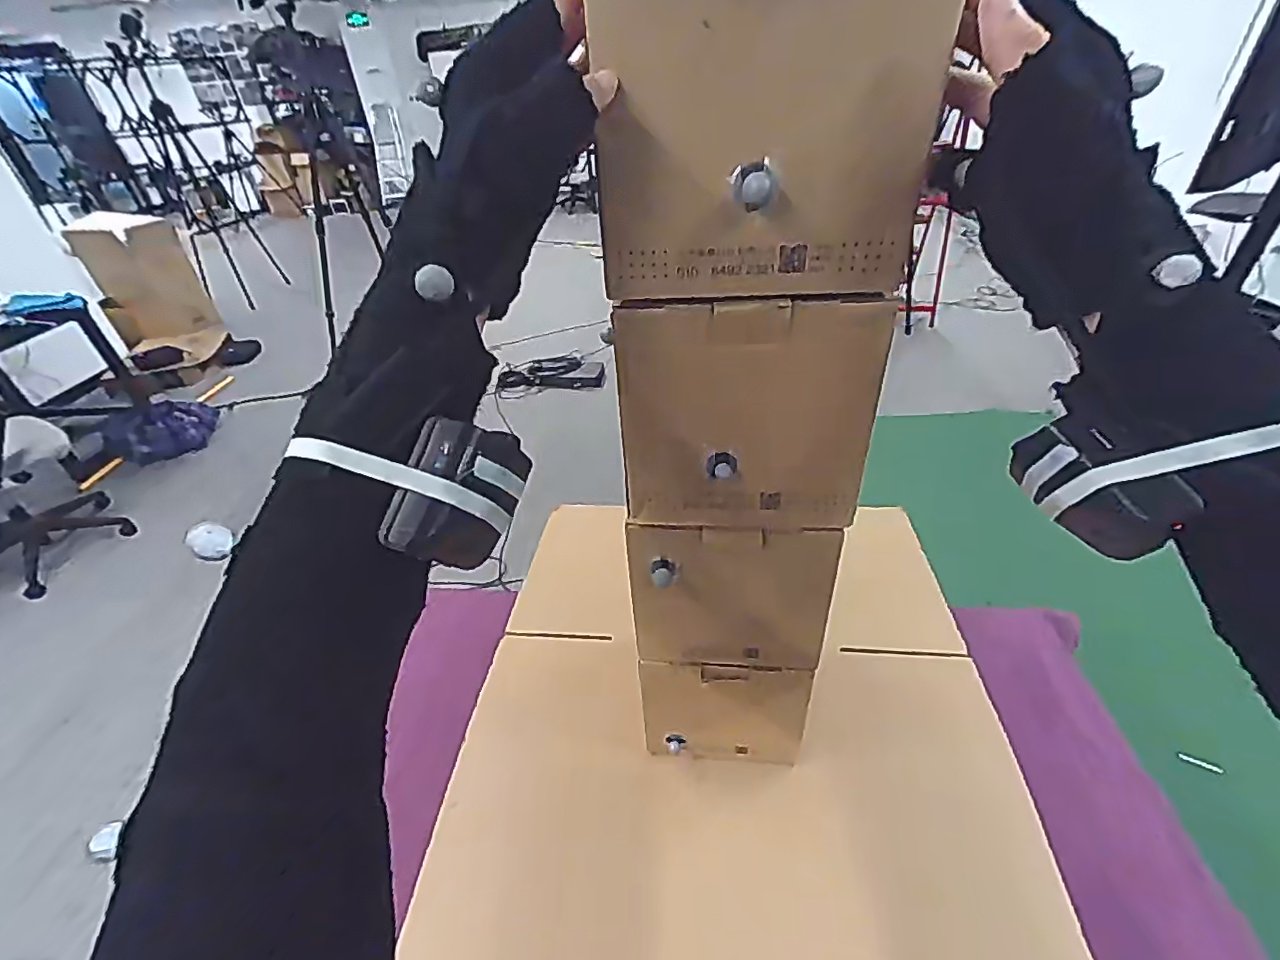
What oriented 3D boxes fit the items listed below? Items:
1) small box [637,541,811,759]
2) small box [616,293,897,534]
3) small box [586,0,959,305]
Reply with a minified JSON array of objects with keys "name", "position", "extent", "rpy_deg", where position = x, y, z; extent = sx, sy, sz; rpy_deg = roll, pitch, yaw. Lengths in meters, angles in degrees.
[{"name":"small box","position":[0.095,0.190,0.616],"extent":[0.168,0.176,0.179],"rpy_deg":[1,36,8]},{"name":"small box","position":[0.077,-0.078,0.428],"extent":[0.168,0.176,0.179],"rpy_deg":[1,35,6]},{"name":"small box","position":[0.063,-0.216,0.330],"extent":[0.168,0.176,0.179],"rpy_deg":[0,36,5]}]
